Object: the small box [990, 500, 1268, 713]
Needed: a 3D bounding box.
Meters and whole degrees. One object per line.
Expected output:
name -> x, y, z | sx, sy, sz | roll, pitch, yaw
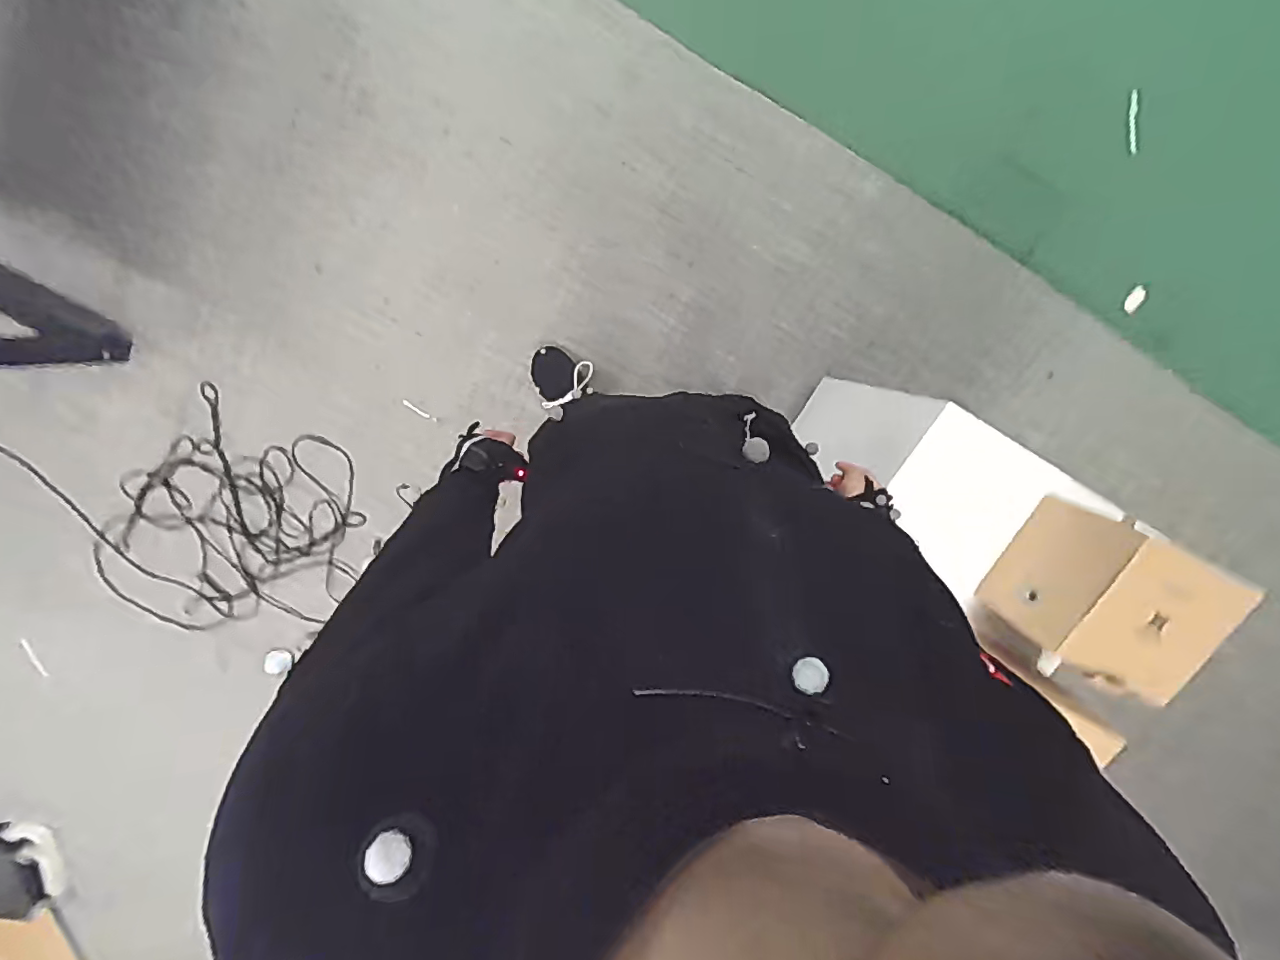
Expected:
small box -> 0.600, 0.151, 0.698 | 0.168, 0.176, 0.179 | 25, 103, -5
